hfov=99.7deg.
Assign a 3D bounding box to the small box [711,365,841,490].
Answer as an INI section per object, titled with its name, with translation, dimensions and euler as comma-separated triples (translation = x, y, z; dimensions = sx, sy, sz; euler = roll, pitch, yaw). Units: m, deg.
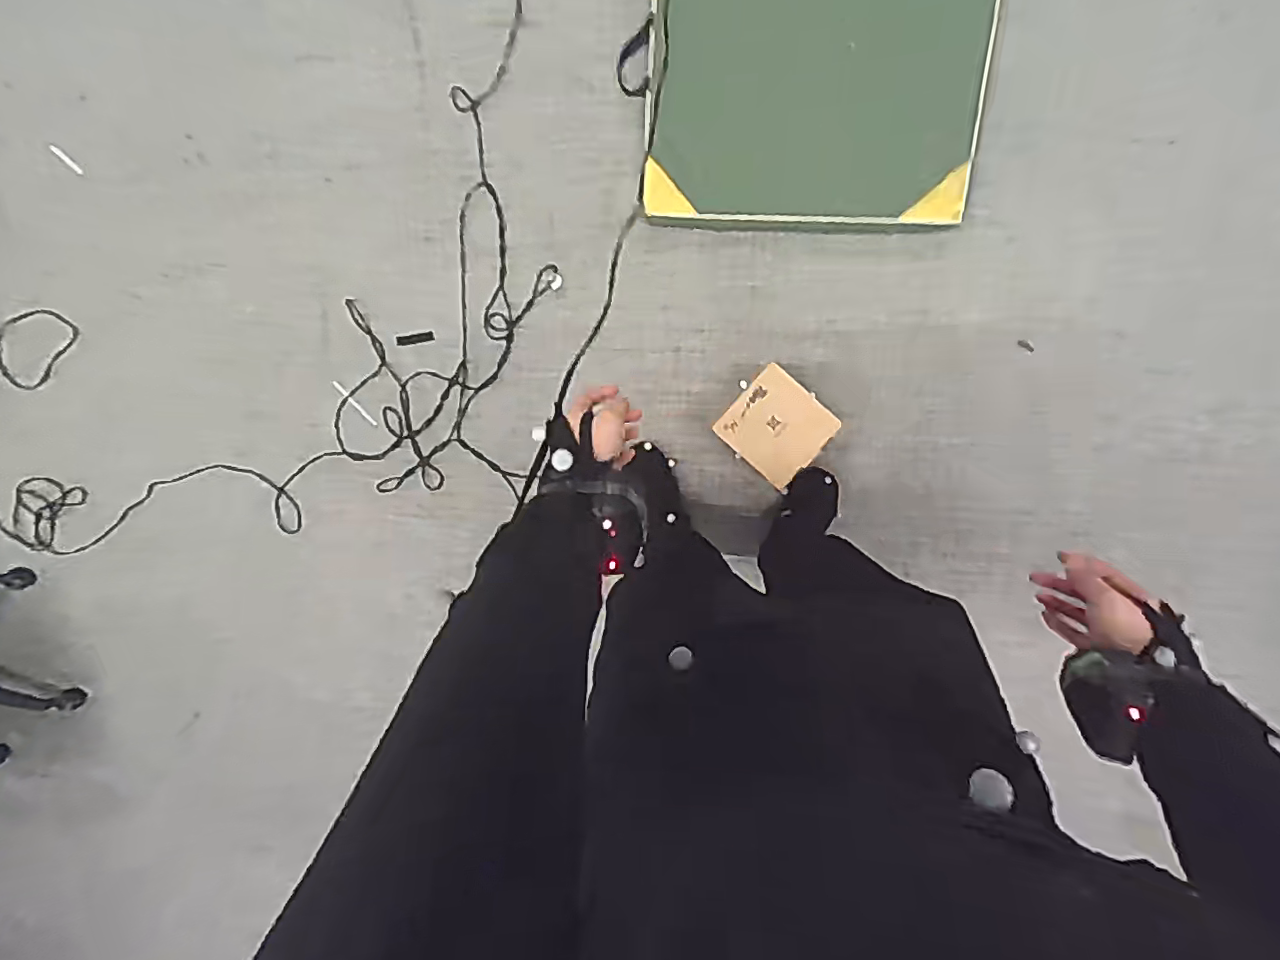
[small box]
translation = 0.260, -0.109, 1.071
dimensions = 0.179, 0.176, 0.168
euler = 42, 102, 0
